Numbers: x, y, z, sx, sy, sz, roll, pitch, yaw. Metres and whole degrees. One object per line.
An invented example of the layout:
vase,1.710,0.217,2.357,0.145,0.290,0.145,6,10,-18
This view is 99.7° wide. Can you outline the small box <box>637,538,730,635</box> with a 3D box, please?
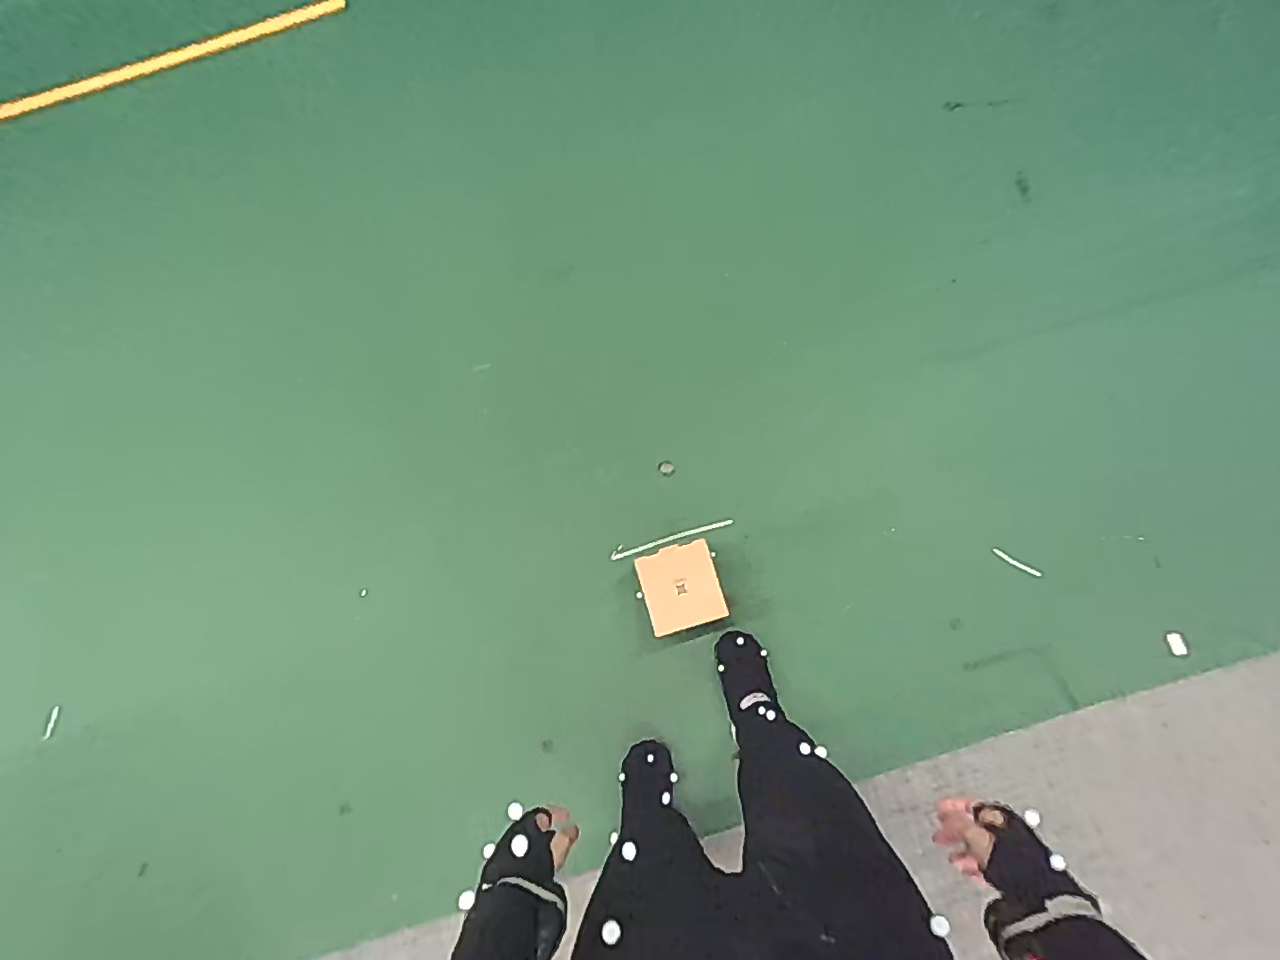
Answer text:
small box,0.101,0.245,1.252,0.168,0.176,0.179,-18,77,1
